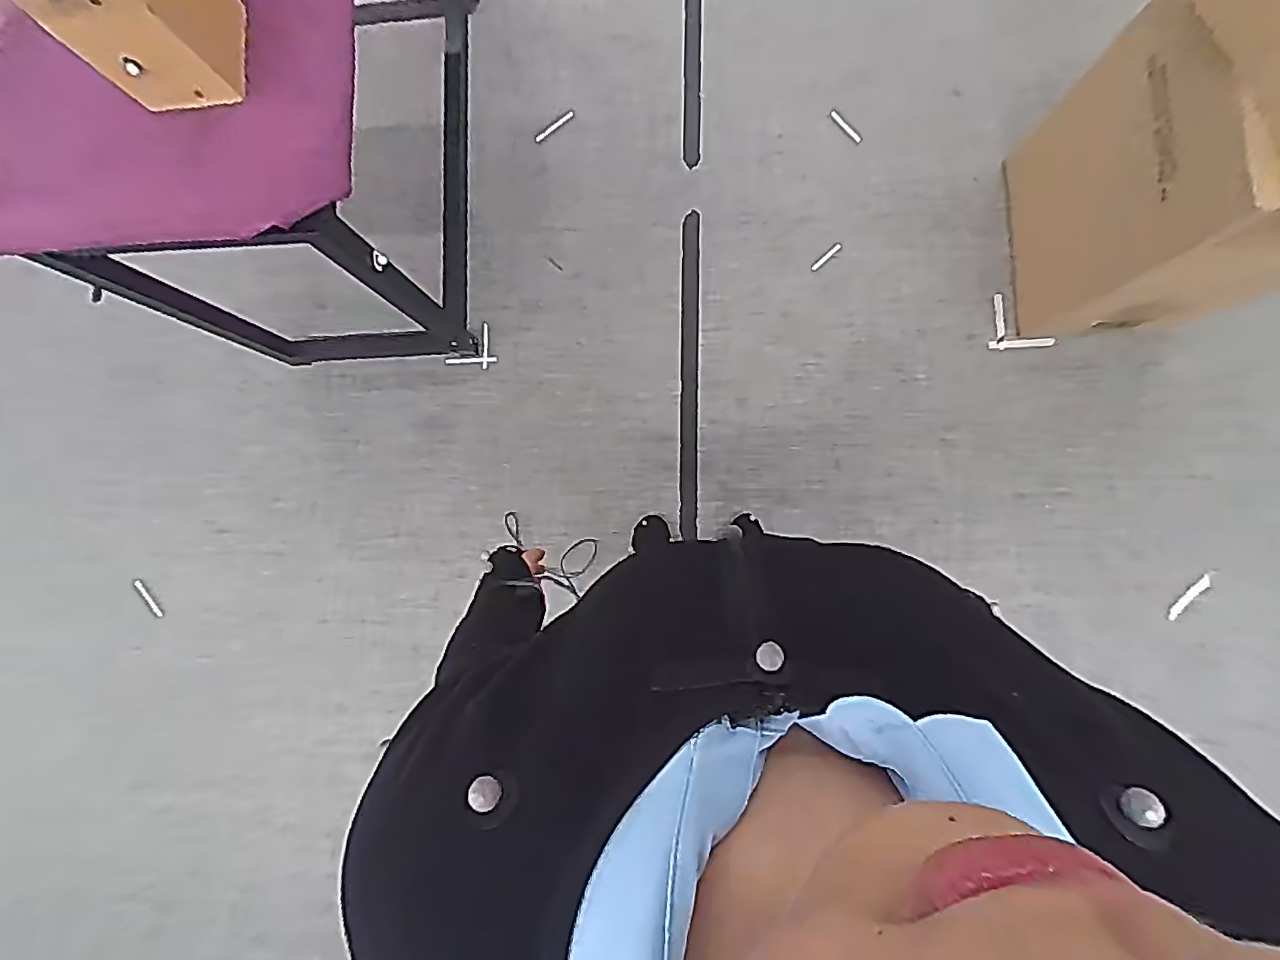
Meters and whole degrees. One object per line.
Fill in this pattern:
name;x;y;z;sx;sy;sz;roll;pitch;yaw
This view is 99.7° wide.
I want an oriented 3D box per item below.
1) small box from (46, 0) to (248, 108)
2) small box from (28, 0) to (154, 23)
small box;-0.741;-0.709;0.830;0.168;0.176;0.179;-4;85;4
small box;-0.749;-0.724;0.666;0.168;0.176;0.179;-4;85;4
